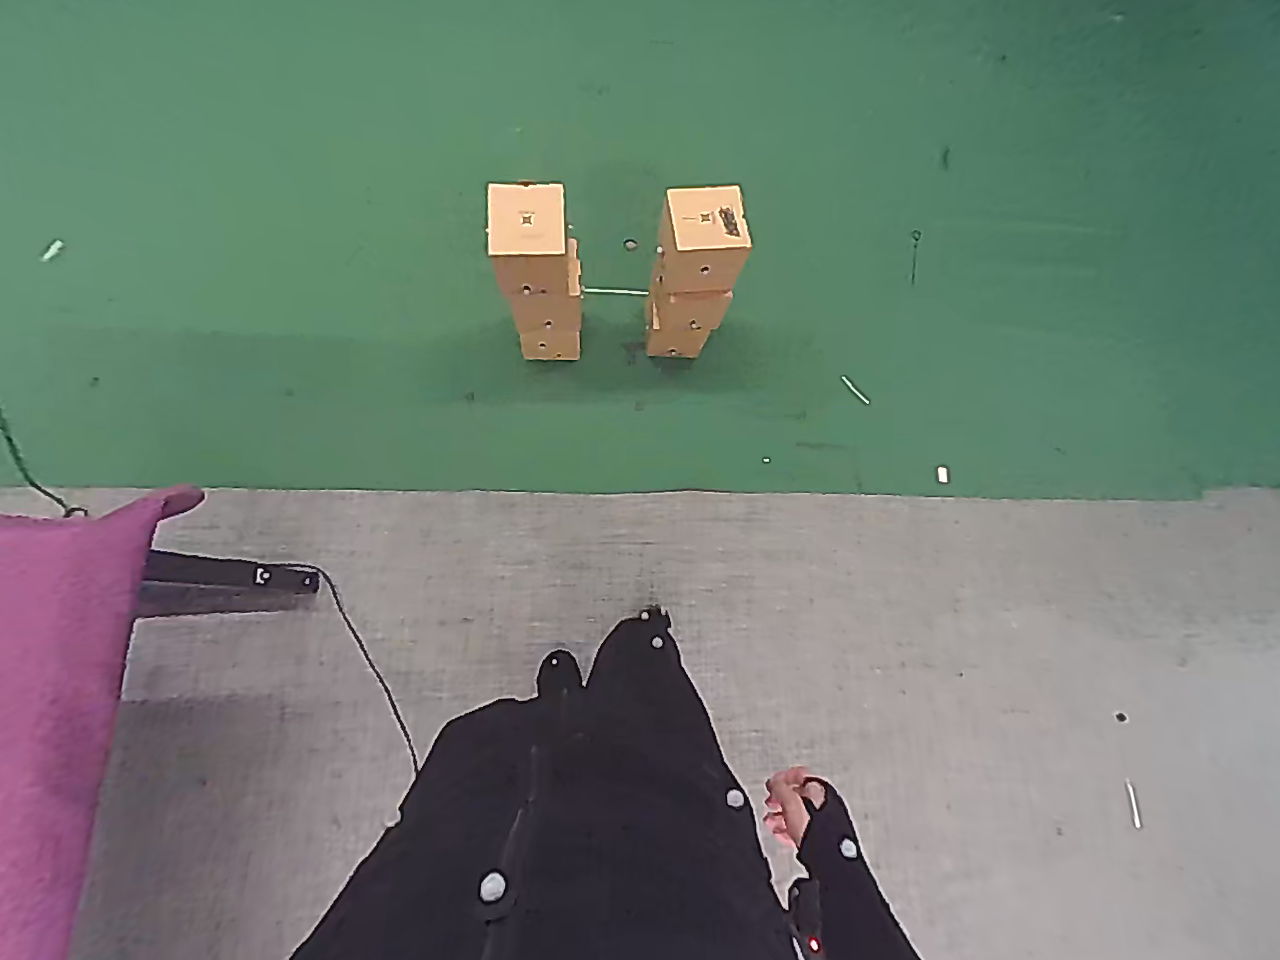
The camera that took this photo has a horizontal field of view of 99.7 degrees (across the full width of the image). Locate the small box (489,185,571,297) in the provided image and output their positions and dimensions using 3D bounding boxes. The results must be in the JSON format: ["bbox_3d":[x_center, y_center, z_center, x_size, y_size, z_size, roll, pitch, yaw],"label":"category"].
[{"bbox_3d":[-0.250,-0.549,1.253,0.168,0.176,0.179,-3,76,-4],"label":"small box"}]

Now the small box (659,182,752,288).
[{"bbox_3d":[0.150,-0.582,1.296,0.179,0.176,0.168,-7,77,-7],"label":"small box"}]

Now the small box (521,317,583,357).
[{"bbox_3d":[-0.252,-0.469,1.571,0.168,0.176,0.179,-2,76,-5],"label":"small box"}]

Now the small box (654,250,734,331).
[{"bbox_3d":[0.138,-0.526,1.452,0.168,0.176,0.179,-9,78,-7],"label":"small box"}]

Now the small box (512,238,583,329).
[{"bbox_3d":[-0.241,-0.509,1.413,0.179,0.176,0.168,-4,76,-7],"label":"small box"}]
